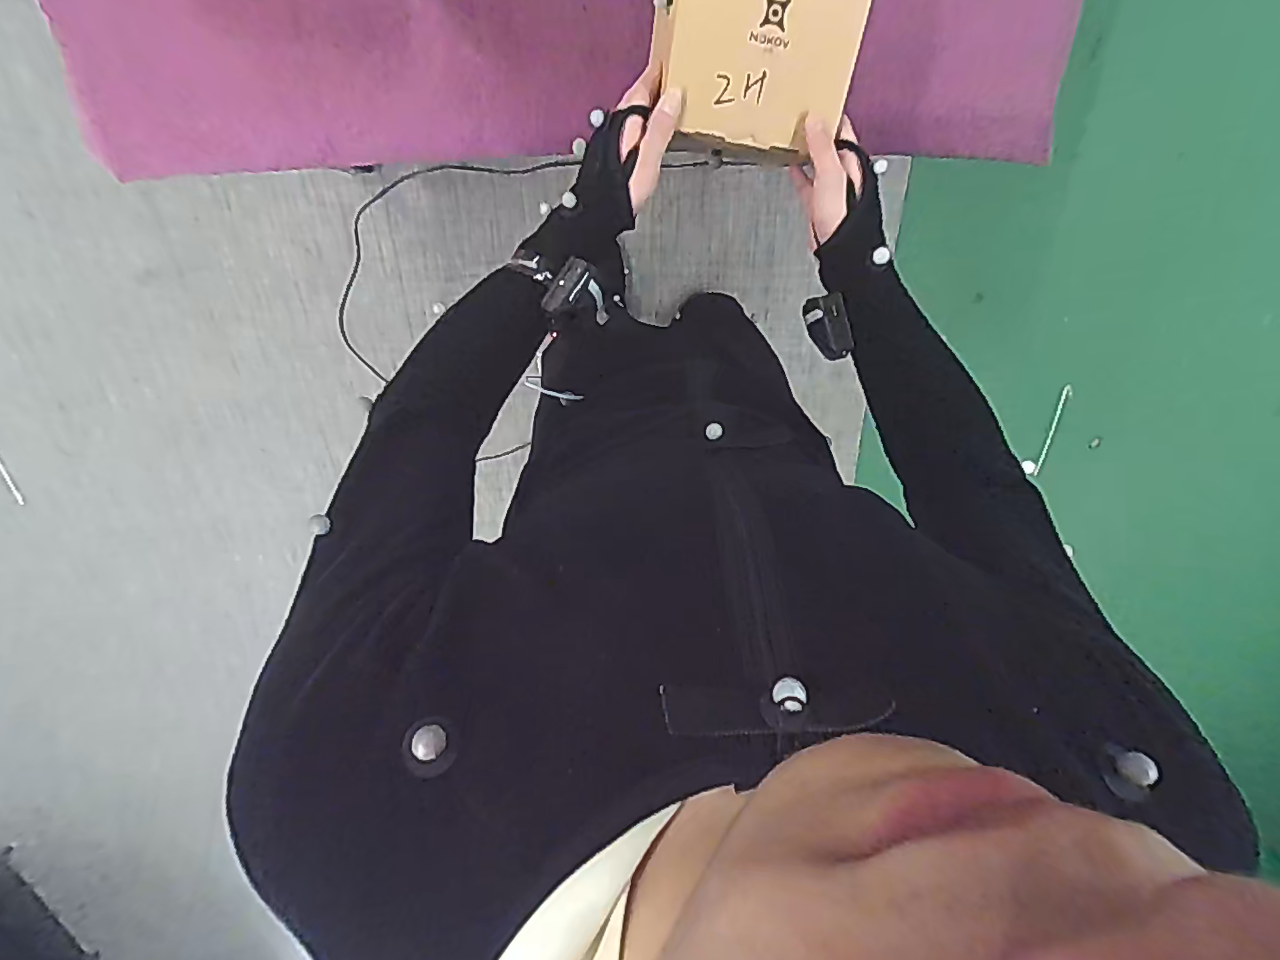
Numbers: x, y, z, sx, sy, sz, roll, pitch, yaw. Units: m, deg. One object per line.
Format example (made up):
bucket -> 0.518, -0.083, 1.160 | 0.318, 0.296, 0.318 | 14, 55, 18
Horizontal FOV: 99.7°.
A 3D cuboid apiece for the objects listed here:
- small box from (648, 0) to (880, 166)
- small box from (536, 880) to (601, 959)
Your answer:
small box -> 0.107, -0.422, 0.526 | 0.168, 0.176, 0.179 | 5, 117, -10
small box -> -0.202, 1.278, 1.543 | 0.179, 0.176, 0.168 | 0, 114, -5
